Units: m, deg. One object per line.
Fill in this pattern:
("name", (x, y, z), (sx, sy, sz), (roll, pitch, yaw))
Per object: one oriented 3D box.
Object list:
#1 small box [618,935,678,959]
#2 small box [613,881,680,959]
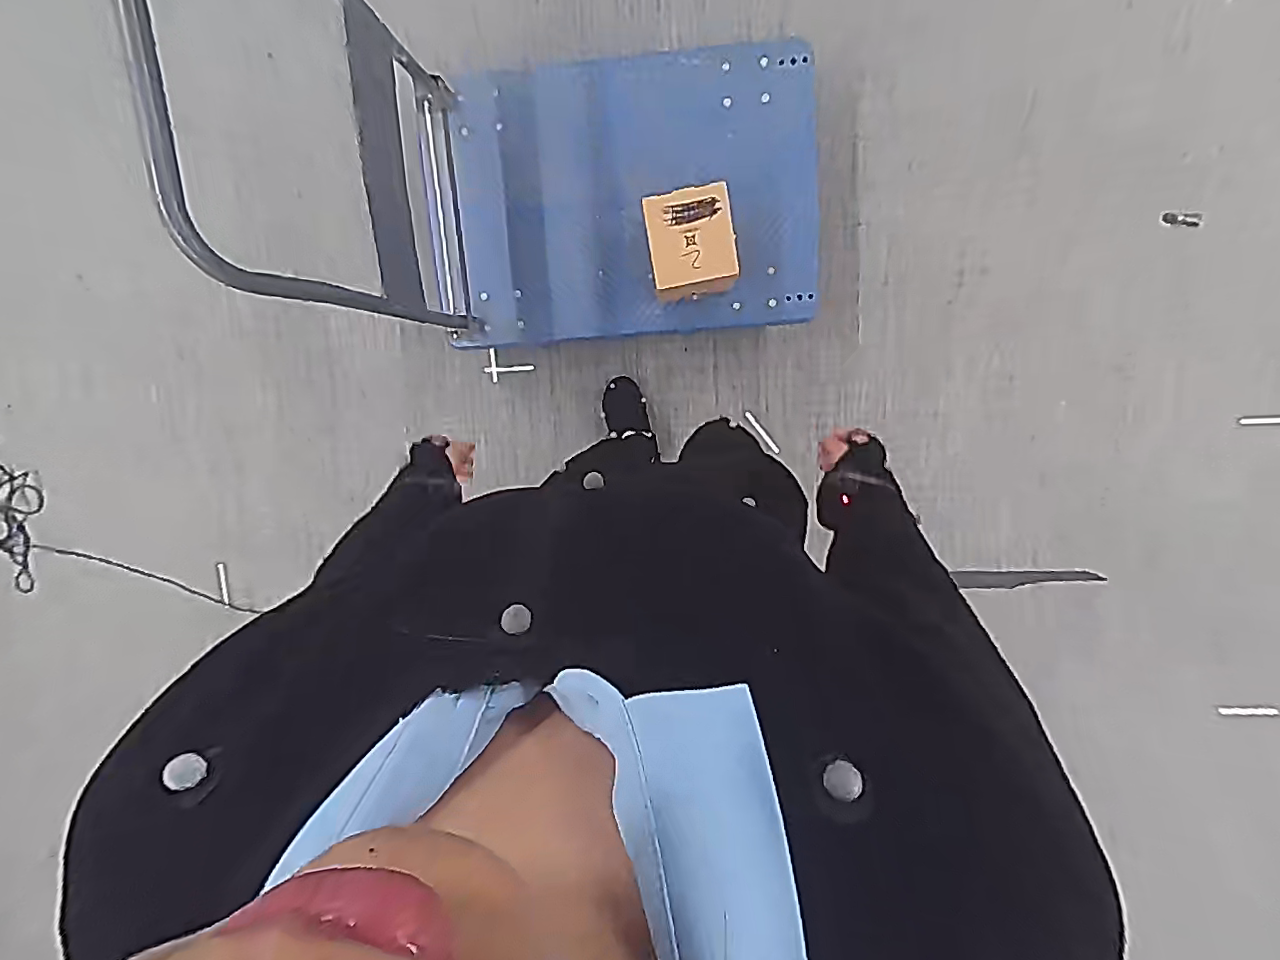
("small box", (0.023, 1.387, 1.458), (0.168, 0.176, 0.179), (-1, 99, 3))
("small box", (0.024, 1.354, 1.618), (0.168, 0.176, 0.179), (-14, 98, 4))
